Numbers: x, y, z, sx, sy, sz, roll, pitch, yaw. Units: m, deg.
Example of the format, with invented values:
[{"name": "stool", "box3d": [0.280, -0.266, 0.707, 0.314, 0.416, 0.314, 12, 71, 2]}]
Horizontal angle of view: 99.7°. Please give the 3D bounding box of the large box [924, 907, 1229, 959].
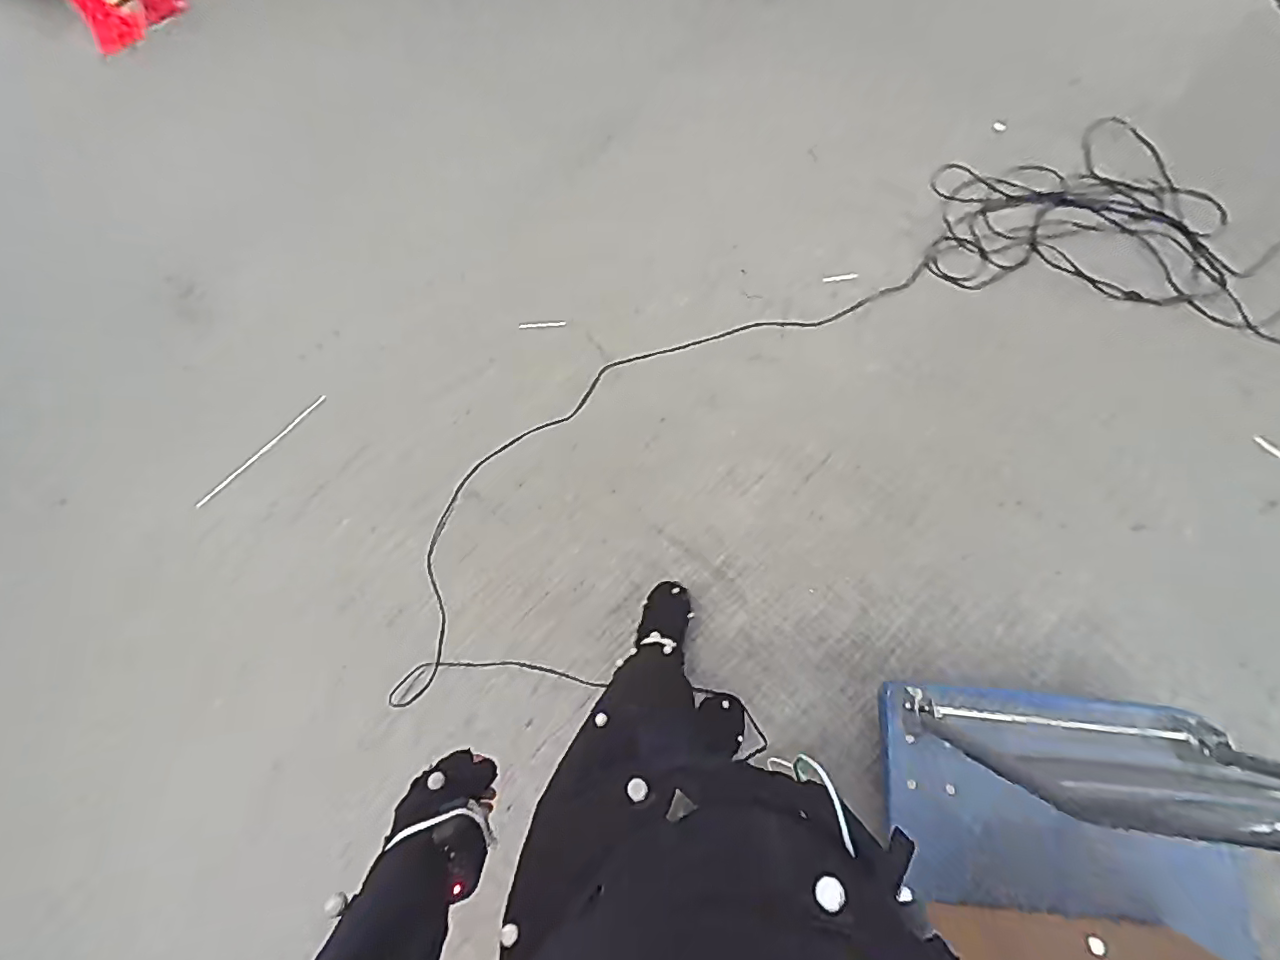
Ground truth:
[{"name": "large box", "box3d": [0.687, 0.859, 0.765, 0.408, 0.320, 0.320, 0, 73, 5]}]
